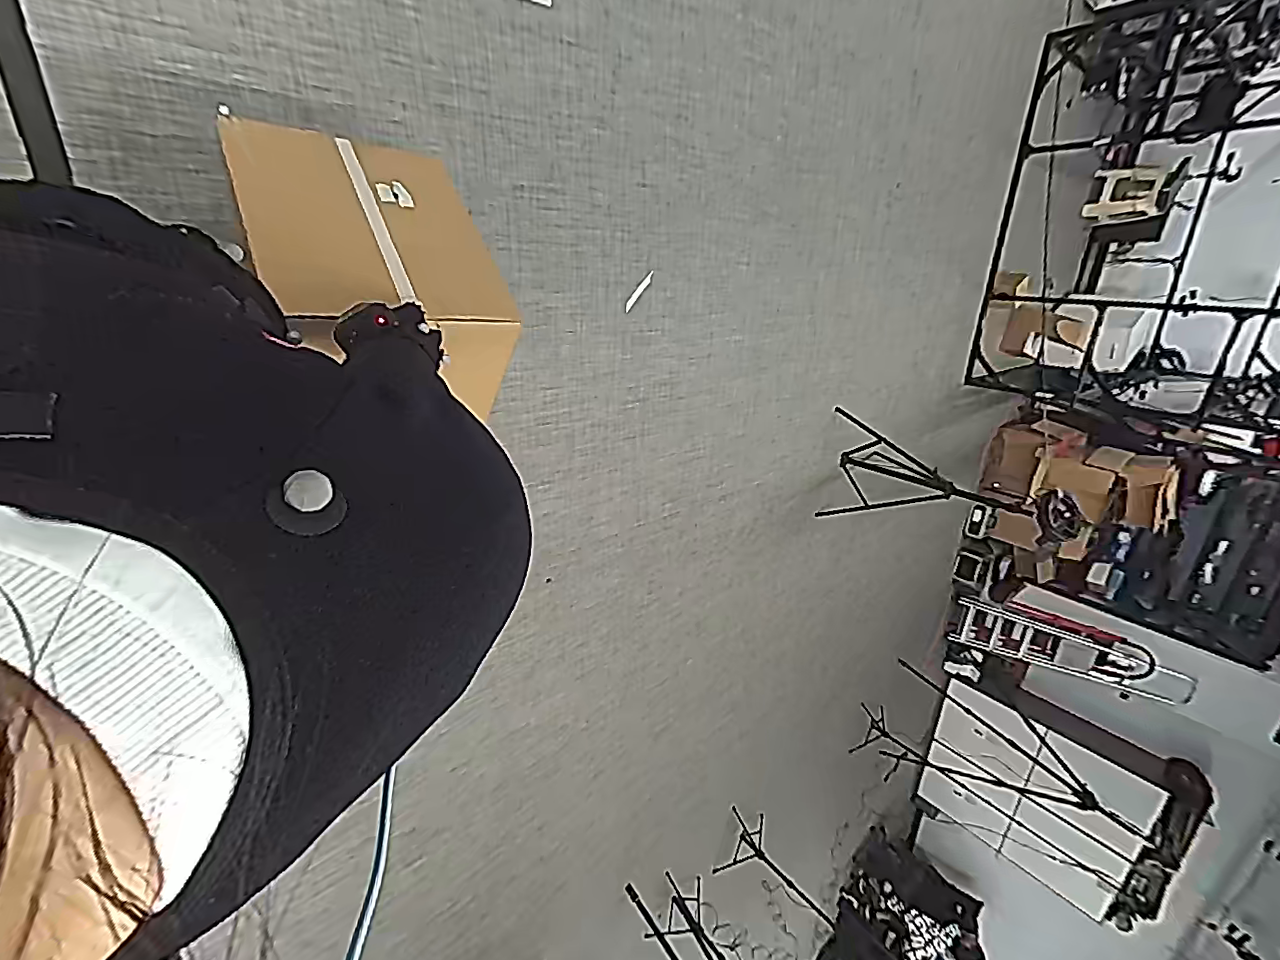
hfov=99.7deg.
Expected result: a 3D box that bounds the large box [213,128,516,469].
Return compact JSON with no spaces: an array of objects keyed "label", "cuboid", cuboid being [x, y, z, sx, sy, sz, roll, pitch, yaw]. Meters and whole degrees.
[{"label":"large box","cuboid":[-0.457,-0.282,0.889,0.320,0.408,0.320,-12,152,-39]}]
